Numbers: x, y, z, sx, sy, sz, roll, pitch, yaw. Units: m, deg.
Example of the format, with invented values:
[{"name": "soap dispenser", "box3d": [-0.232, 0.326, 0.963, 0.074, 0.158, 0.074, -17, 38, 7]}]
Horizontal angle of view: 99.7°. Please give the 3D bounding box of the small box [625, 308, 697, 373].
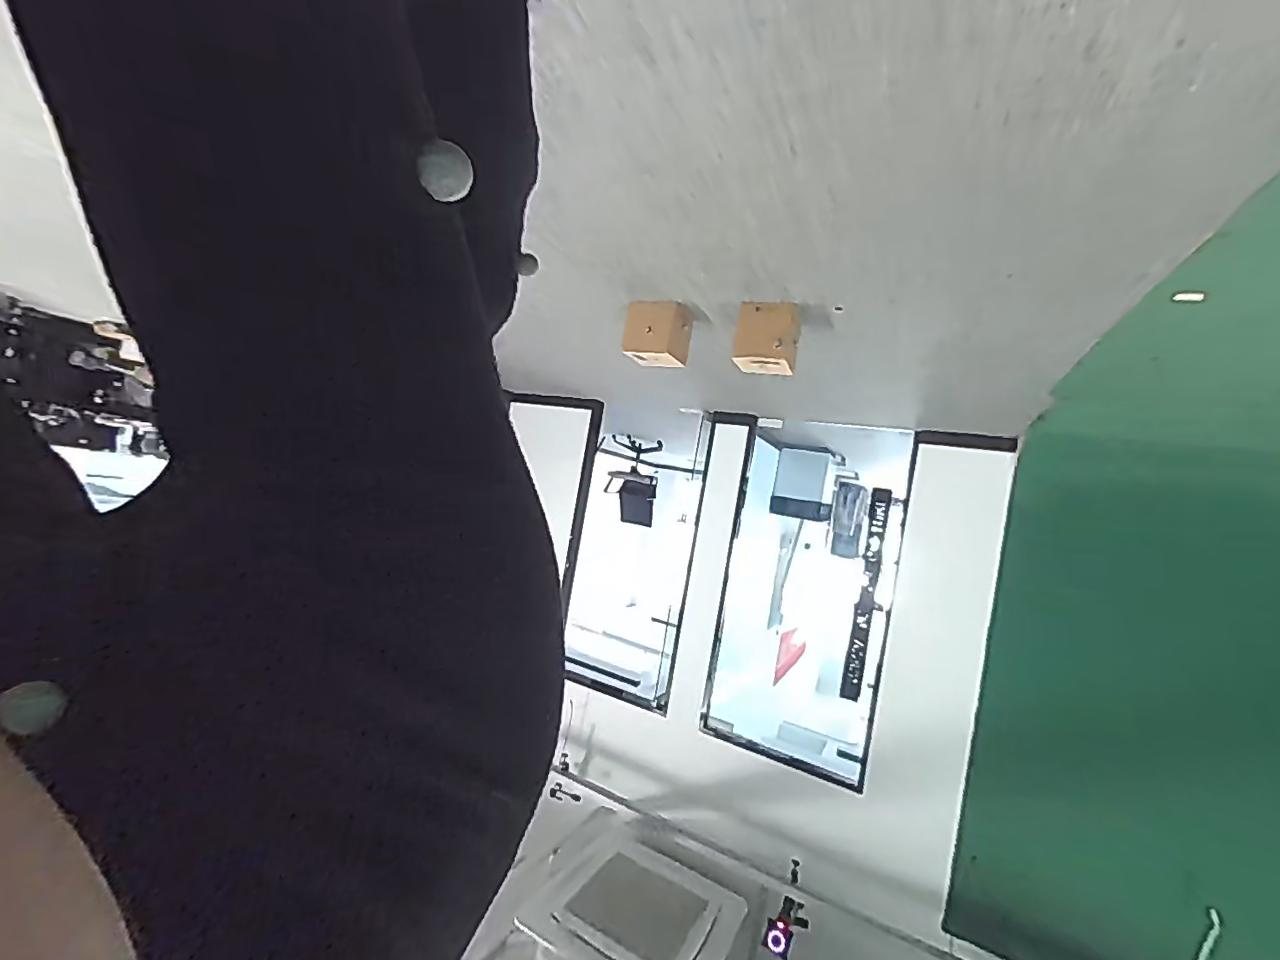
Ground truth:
[{"name": "small box", "box3d": [0.074, -0.466, 1.803, 0.179, 0.176, 0.168, 8, 178, 28]}]
